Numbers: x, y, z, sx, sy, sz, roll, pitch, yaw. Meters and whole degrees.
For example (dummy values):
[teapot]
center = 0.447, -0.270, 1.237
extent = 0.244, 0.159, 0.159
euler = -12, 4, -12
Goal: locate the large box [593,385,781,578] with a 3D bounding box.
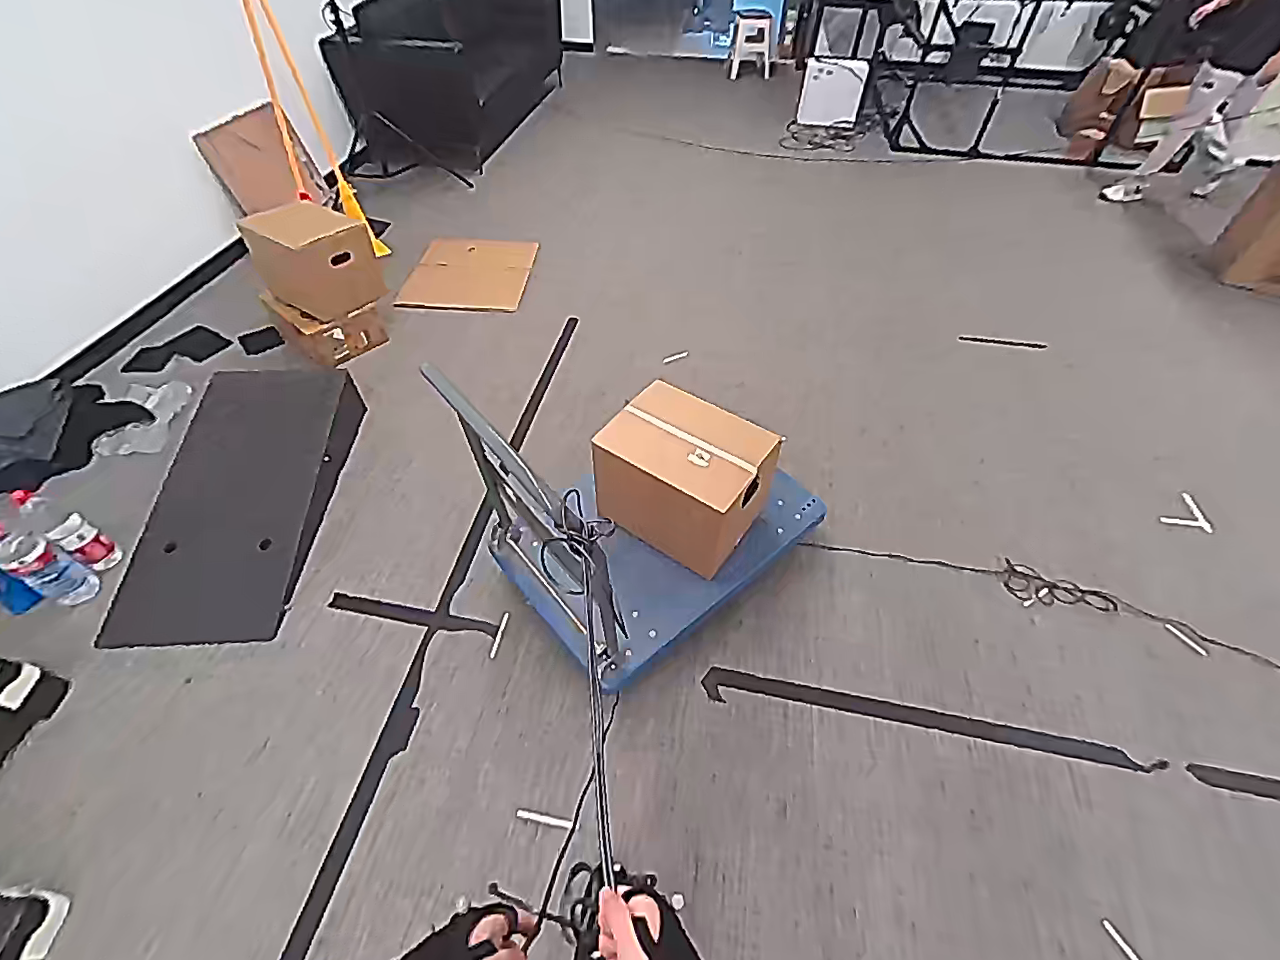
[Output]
[large box]
center = 0.118, -0.001, 1.519
extent = 0.408, 0.320, 0.320
euler = 29, 55, 21
